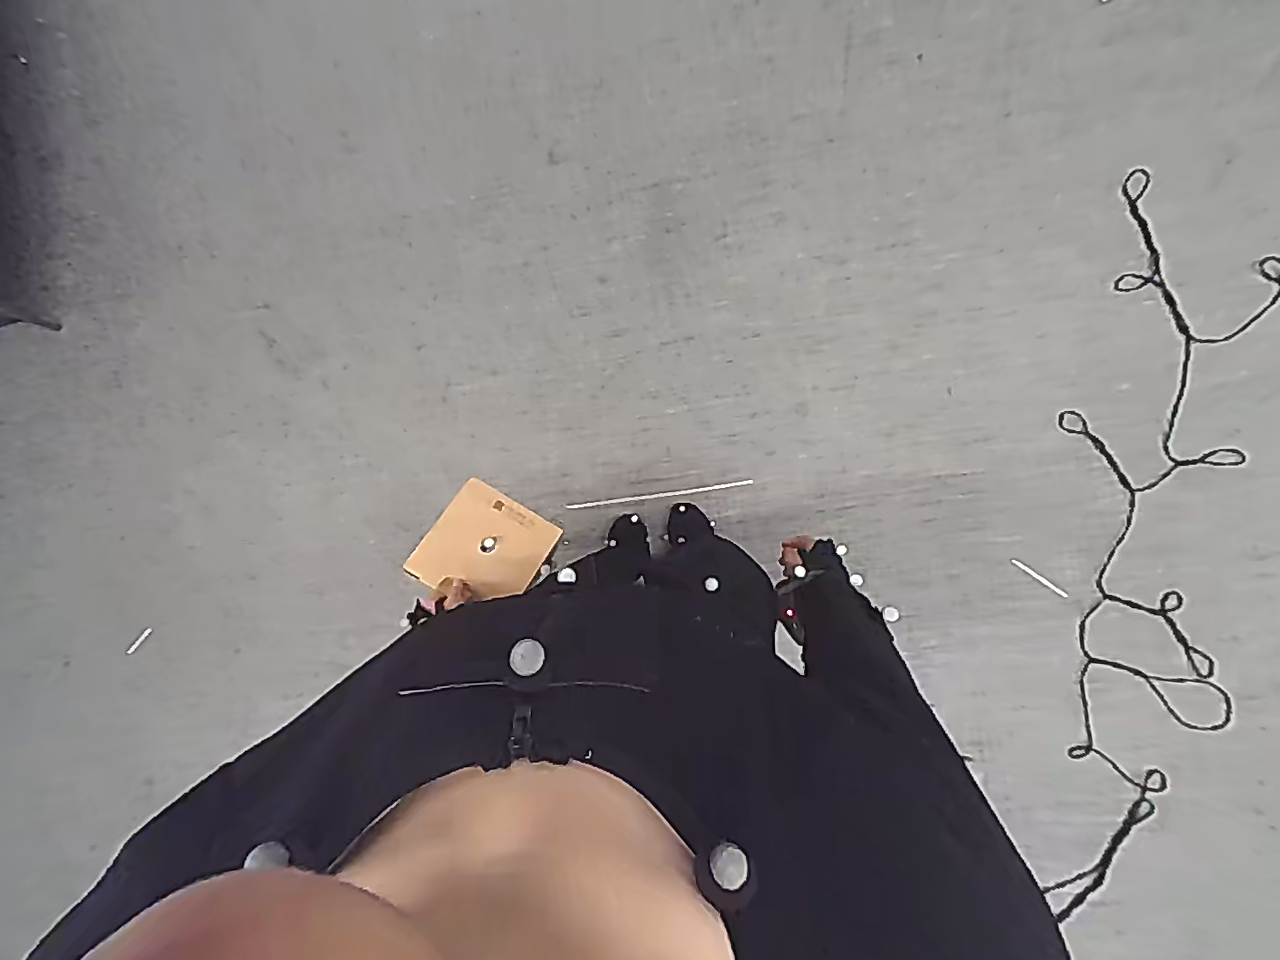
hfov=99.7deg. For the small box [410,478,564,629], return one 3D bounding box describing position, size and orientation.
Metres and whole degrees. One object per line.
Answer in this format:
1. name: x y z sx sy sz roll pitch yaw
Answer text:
1. small box: -0.236 0.120 0.868 0.168 0.179 0.176 31 68 -2
